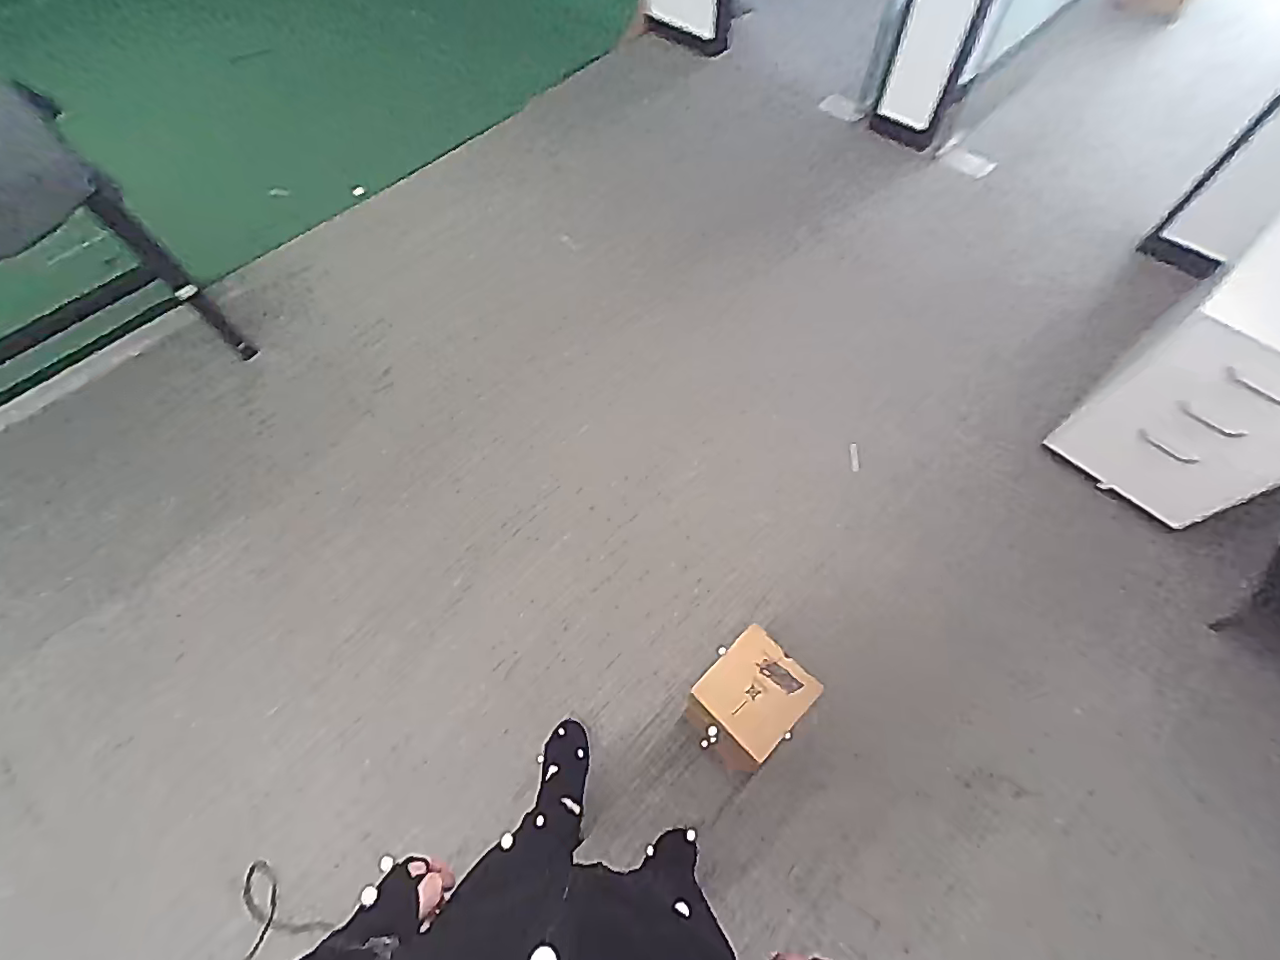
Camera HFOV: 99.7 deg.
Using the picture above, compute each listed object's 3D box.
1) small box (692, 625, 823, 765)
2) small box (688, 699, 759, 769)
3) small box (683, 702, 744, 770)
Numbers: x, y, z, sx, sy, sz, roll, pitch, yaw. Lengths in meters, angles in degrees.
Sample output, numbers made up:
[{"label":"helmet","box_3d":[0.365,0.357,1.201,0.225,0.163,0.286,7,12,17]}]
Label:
[{"label":"small box","box_3d":[0.211,0.410,1.030,0.179,0.176,0.168,-41,68,-16]},{"label":"small box","box_3d":[0.218,0.496,1.170,0.179,0.176,0.168,41,72,19]},{"label":"small box","box_3d":[0.222,0.570,1.314,0.168,0.176,0.179,-40,68,-18]}]
